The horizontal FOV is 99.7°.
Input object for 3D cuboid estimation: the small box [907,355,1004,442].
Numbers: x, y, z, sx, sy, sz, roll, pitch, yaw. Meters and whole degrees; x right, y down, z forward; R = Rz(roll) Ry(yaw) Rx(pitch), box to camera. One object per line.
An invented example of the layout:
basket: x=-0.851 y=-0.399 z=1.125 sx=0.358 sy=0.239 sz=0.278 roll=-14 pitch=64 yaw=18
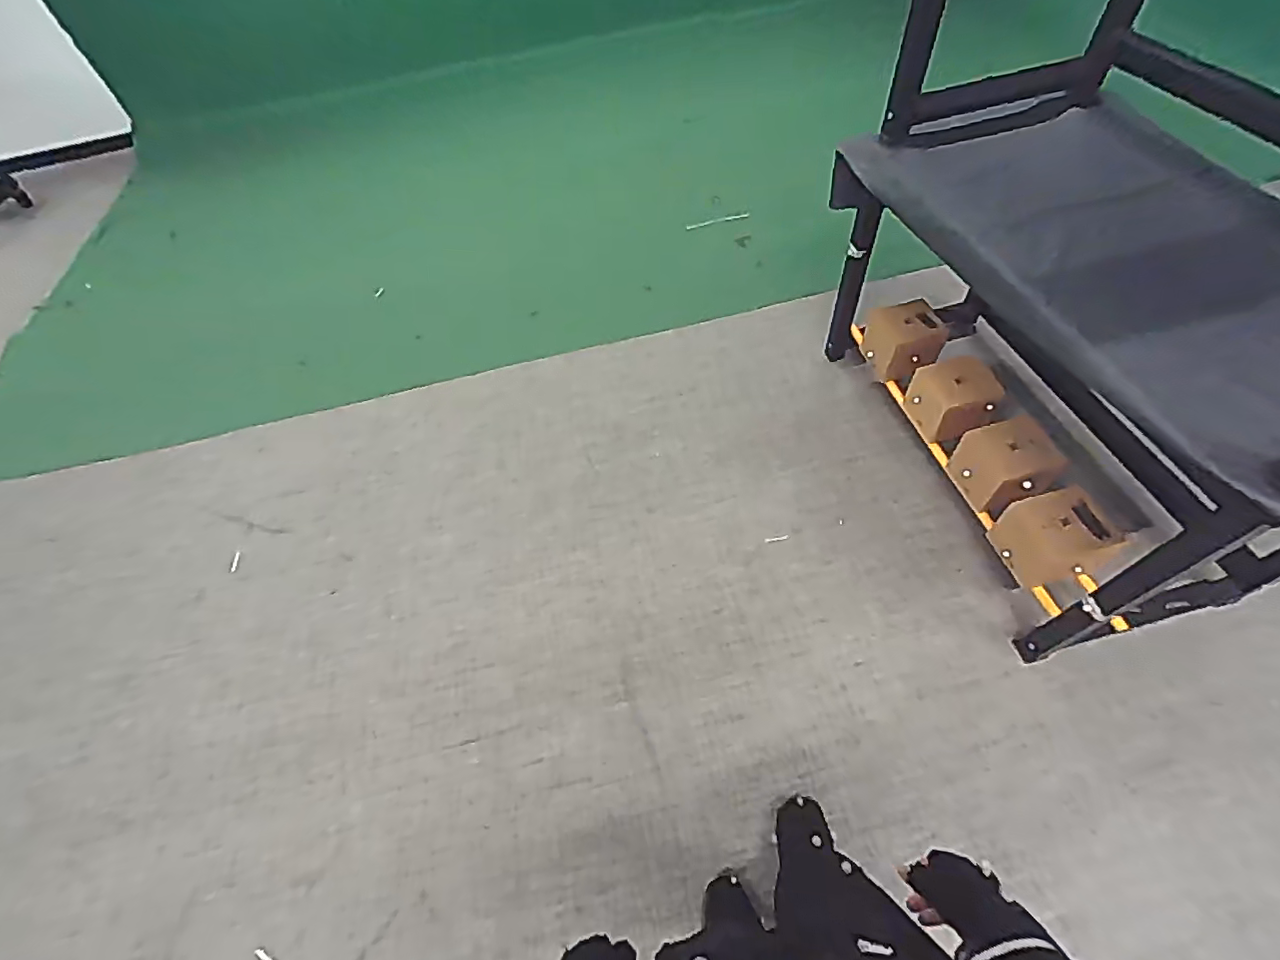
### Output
small box: x=0.910 y=-0.233 z=1.586 sx=0.179 sy=0.176 sz=0.168 roll=-14 pitch=56 yaw=-1

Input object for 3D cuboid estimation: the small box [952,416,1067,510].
small box: x=0.970 y=-0.040 z=1.447 sx=0.179 sy=0.176 sz=0.168 roll=-15 pitch=57 yaw=-2
